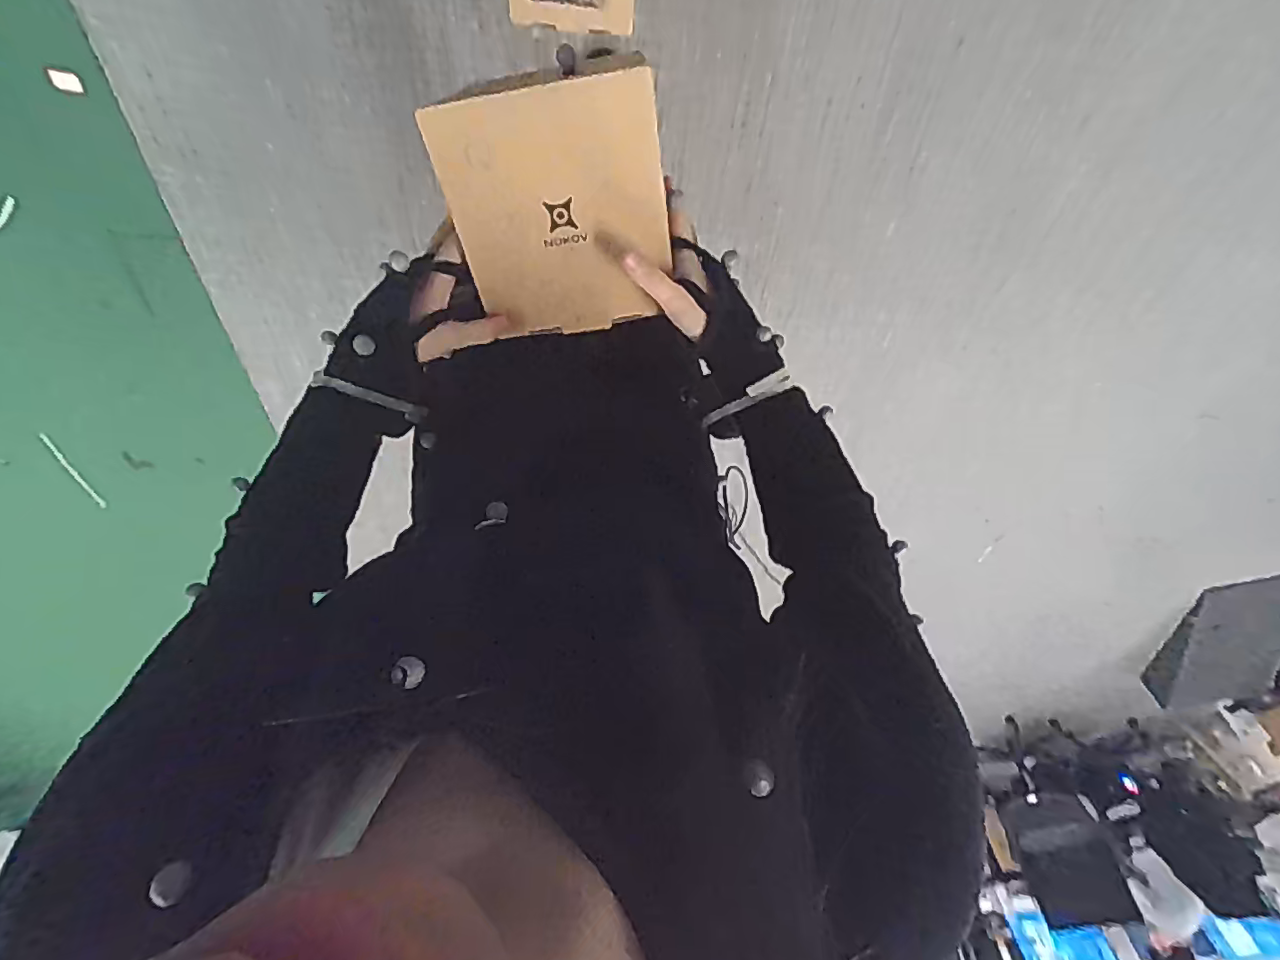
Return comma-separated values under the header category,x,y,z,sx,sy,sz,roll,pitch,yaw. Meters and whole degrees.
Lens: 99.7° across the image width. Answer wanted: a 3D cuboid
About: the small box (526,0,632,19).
category,x,y,z,sx,sy,sz,roll,pitch,yaw
small box,-0.090,-0.841,0.829,0.168,0.176,0.179,3,136,-6
